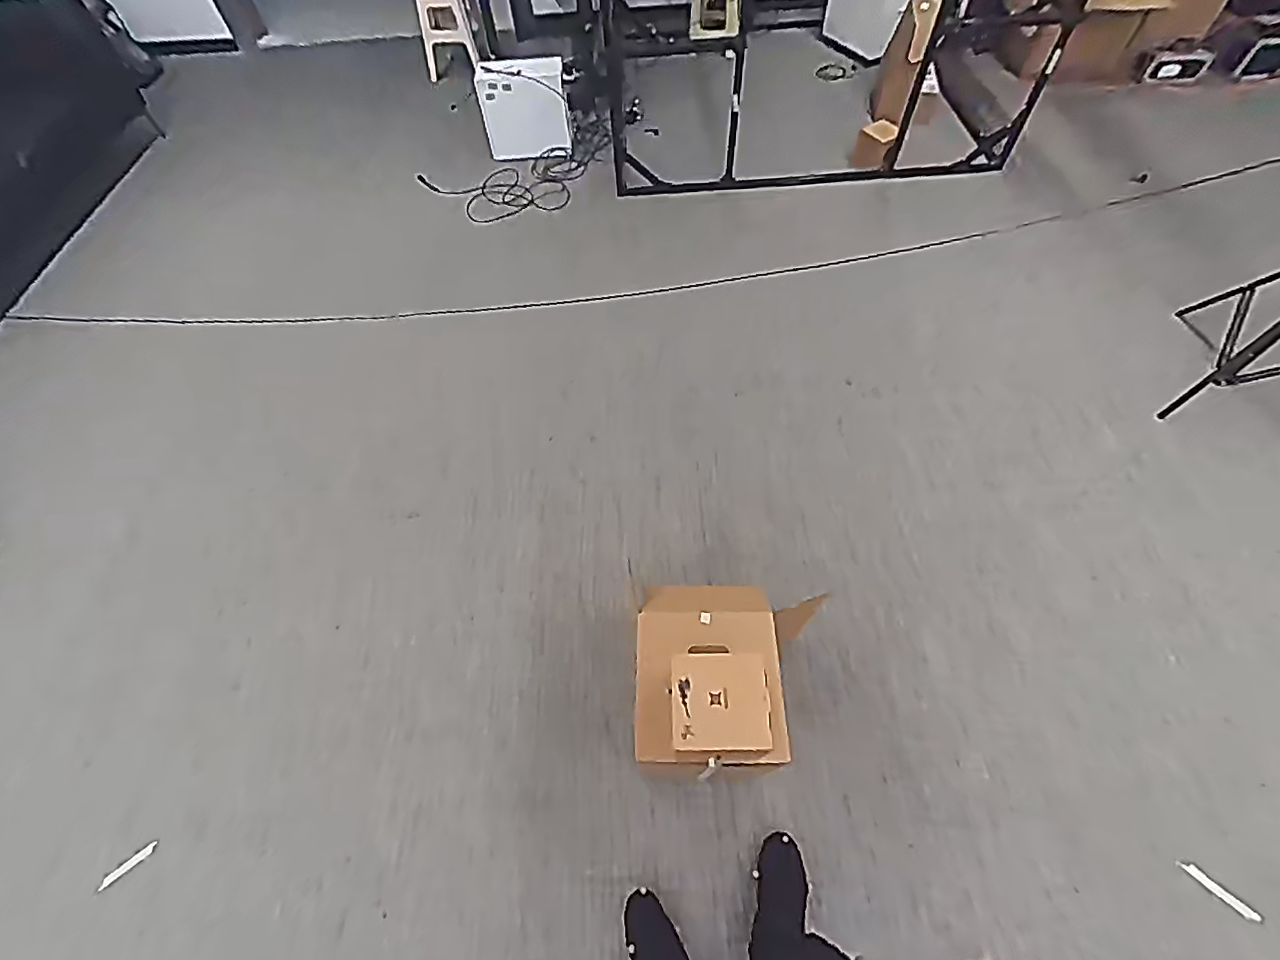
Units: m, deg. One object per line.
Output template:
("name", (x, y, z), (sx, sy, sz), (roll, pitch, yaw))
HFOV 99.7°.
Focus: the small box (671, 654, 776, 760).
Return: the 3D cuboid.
("small box", (0.151, 0.438, 1.038), (0.179, 0.176, 0.168), (-1, 59, 2))
